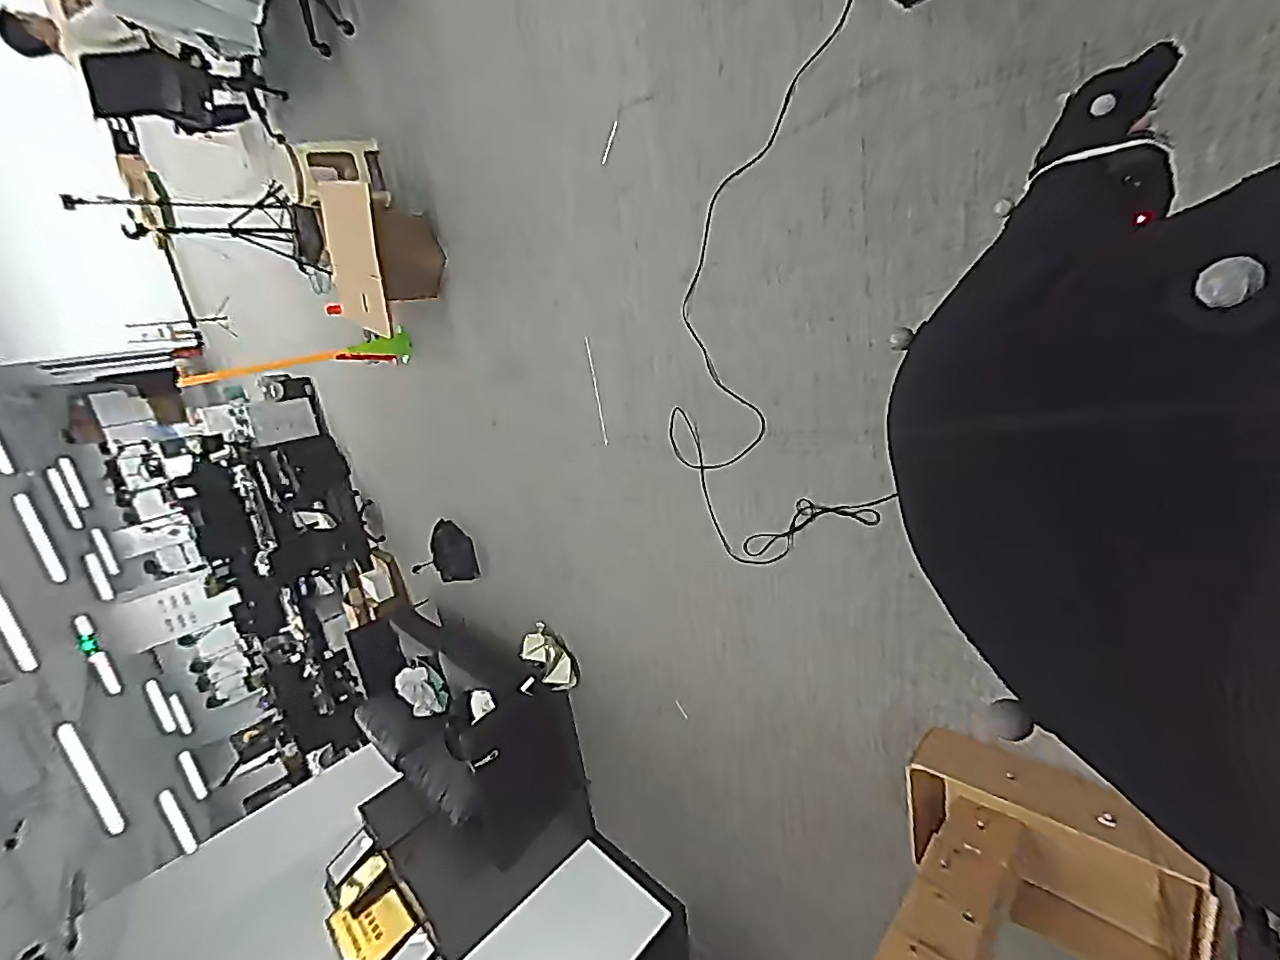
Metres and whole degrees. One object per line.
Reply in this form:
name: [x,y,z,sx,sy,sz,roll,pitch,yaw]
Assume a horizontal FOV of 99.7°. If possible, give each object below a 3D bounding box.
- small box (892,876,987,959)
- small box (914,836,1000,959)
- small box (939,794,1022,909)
small box: [0.733,1.132,1.323,0.168,0.176,0.179,6,112,45]
small box: [0.834,1.095,1.423,0.168,0.176,0.179,5,111,45]
small box: [0.968,1.040,1.534,0.168,0.176,0.179,-2,107,45]
